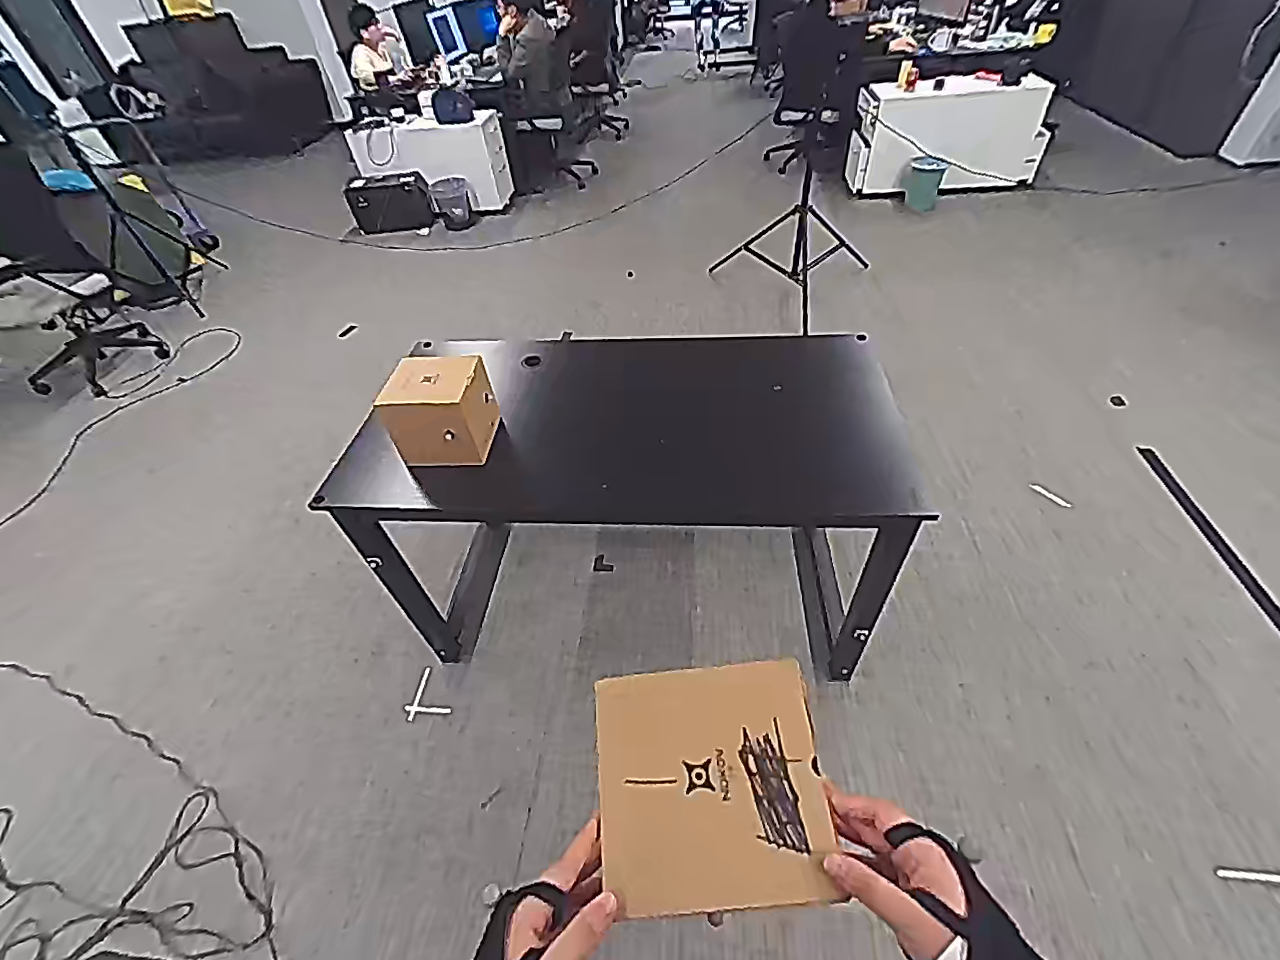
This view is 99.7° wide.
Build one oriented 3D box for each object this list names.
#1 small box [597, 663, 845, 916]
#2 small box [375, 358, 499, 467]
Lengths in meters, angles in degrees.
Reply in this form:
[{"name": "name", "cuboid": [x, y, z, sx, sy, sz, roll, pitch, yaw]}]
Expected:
[{"name": "small box", "cuboid": [0.060, 0.273, 0.489, 0.179, 0.176, 0.168, -7, 57, 2]}, {"name": "small box", "cuboid": [-0.415, -0.140, 1.145, 0.179, 0.176, 0.168, -2, 45, 5]}]
